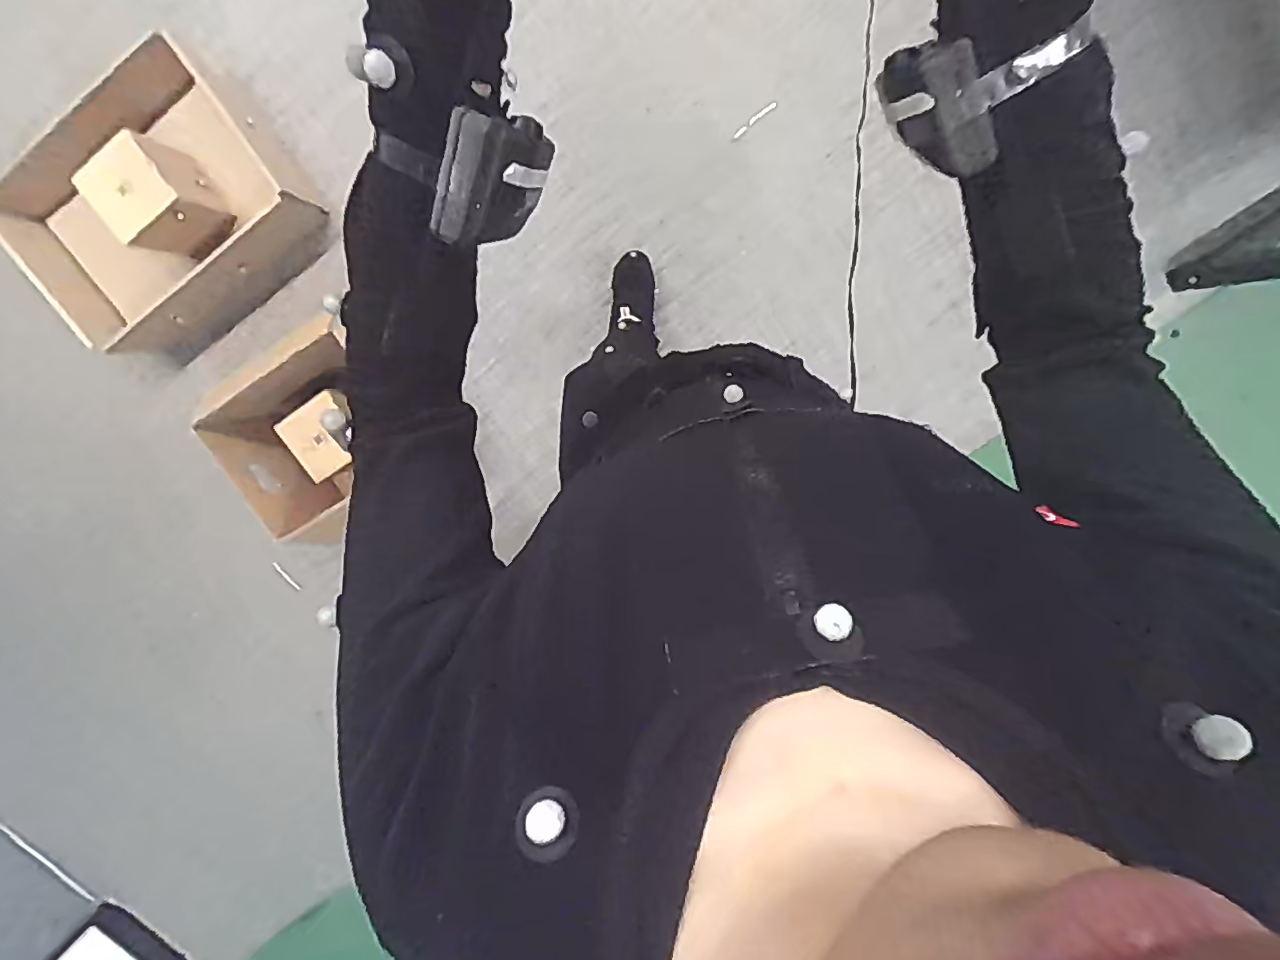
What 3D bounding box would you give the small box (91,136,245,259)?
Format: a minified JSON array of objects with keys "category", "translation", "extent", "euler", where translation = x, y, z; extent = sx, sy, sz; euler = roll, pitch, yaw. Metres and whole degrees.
[{"category":"small box","translation":[-1.080,-0.640,1.254],"extent":[0.179,0.176,0.168],"euler":[-33,99,10]}]
